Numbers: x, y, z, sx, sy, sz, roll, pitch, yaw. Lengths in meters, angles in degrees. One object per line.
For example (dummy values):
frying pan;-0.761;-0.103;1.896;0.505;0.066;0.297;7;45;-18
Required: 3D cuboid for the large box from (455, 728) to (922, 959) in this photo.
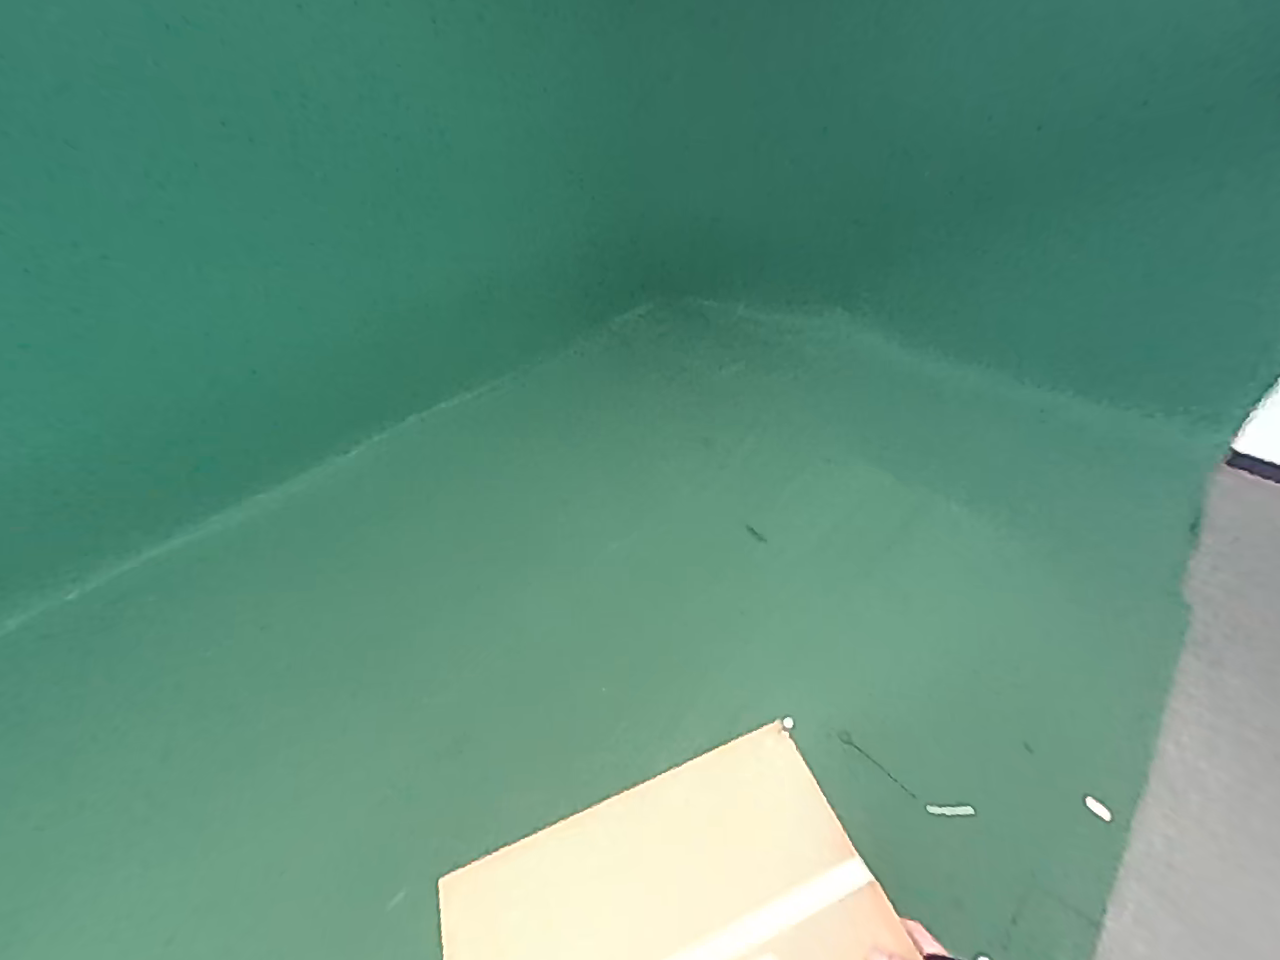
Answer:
large box;0.059;0.557;0.593;0.408;0.320;0.320;-19;45;-10
